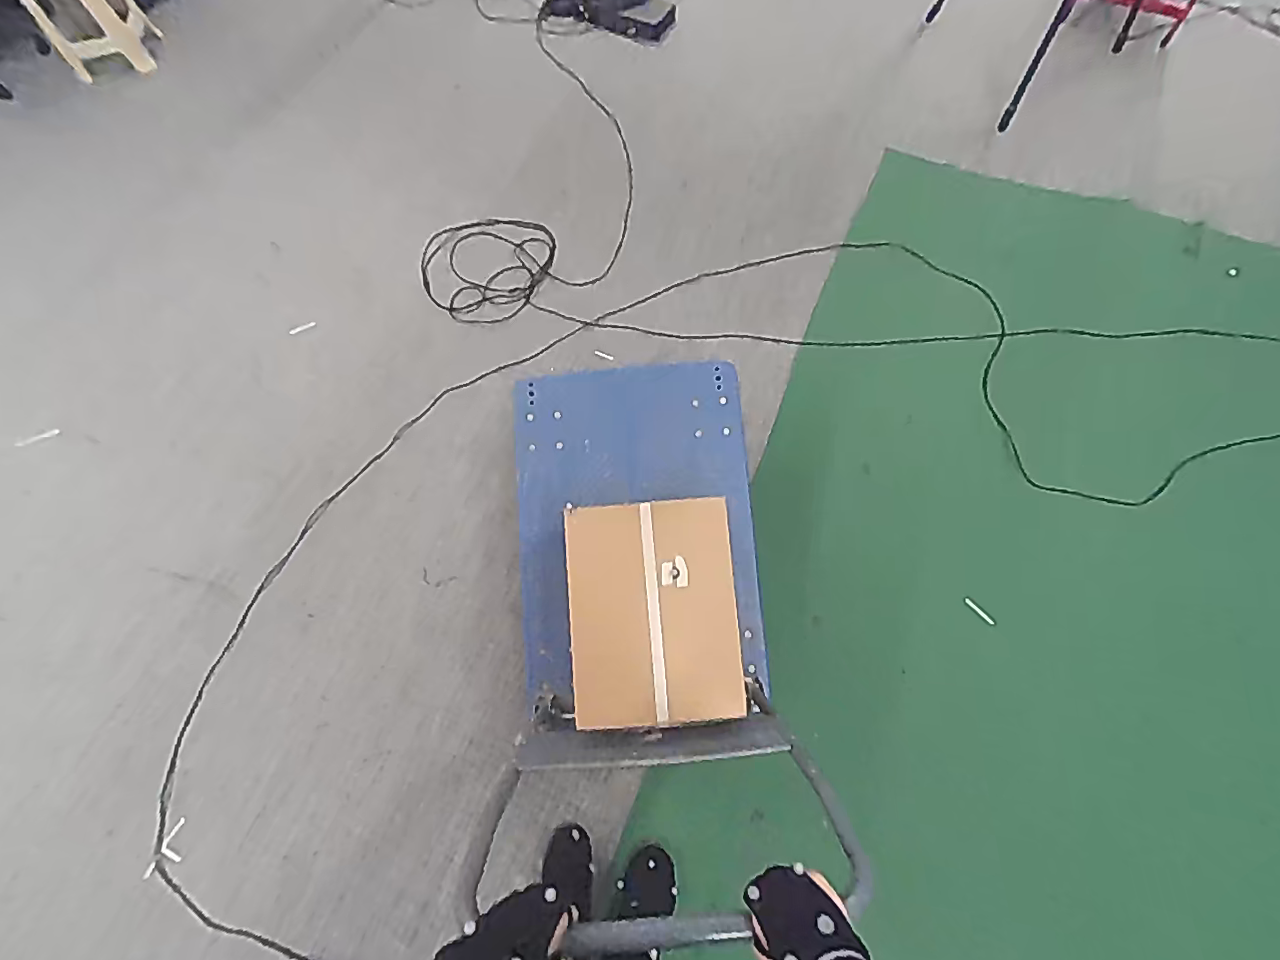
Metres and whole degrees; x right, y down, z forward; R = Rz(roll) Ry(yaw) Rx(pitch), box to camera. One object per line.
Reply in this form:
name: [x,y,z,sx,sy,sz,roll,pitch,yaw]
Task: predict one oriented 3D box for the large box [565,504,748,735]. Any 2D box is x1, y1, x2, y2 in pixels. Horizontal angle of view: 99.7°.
large box: [0.029,0.280,1.157,0.320,0.320,0.408,-5,80,-1]
